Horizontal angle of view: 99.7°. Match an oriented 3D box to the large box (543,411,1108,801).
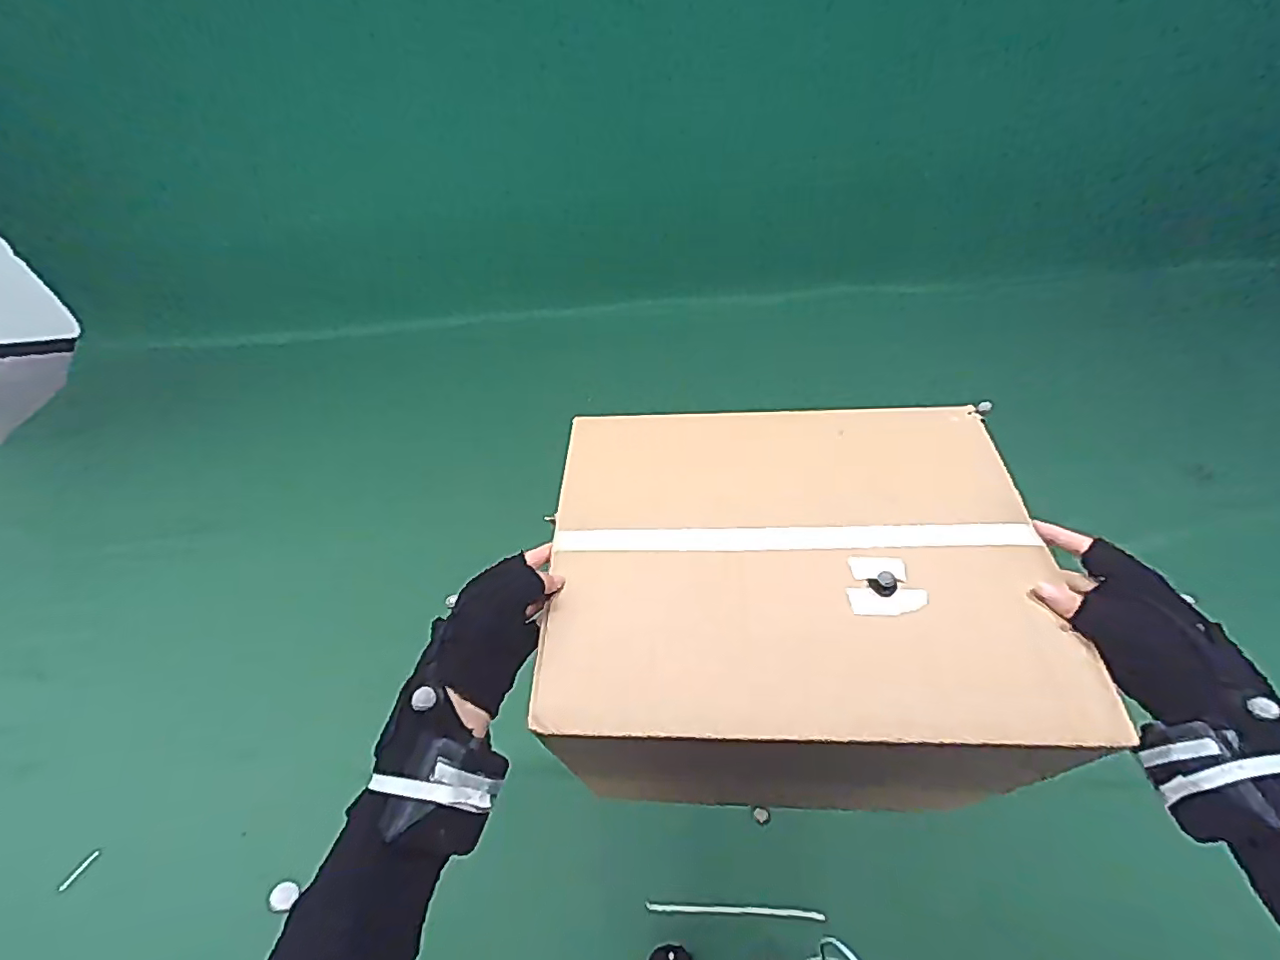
[{"bbox_3d":[0.138,0.149,0.590,0.408,0.320,0.320,-2,52,5],"label":"large box"}]
